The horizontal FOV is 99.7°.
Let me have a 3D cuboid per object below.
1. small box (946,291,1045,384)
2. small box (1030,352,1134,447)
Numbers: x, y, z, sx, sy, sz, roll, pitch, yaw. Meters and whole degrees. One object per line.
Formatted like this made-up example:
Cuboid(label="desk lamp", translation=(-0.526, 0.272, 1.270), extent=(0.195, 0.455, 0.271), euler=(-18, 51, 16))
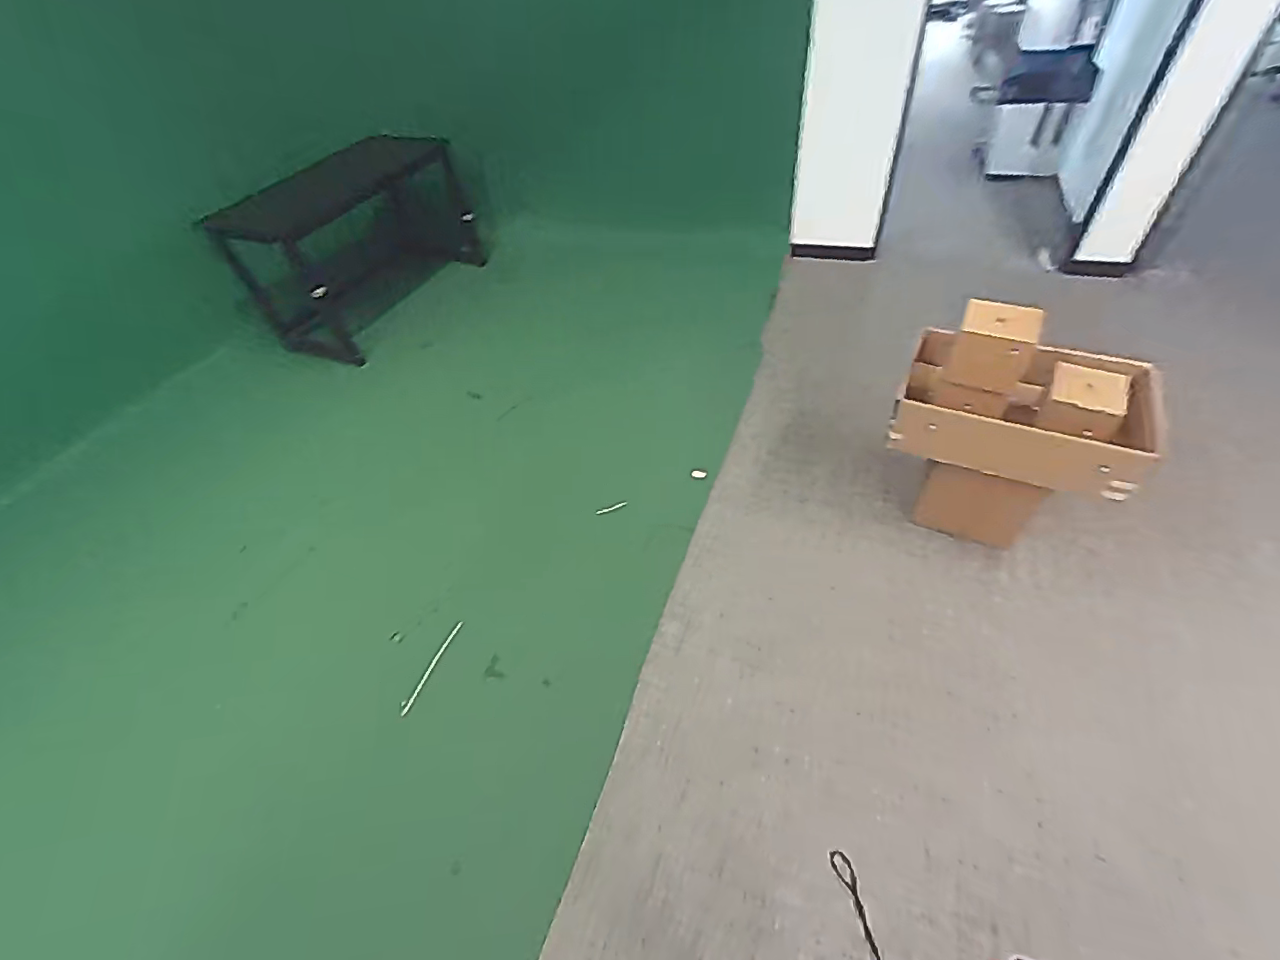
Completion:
Cuboid(label="small box", translation=(0.955, -0.384, 1.465), extent=(0.179, 0.176, 0.168), euler=(19, 55, 23))
Cuboid(label="small box", translation=(1.215, -0.220, 1.495), extent=(0.168, 0.176, 0.179), euler=(22, 57, 25))
